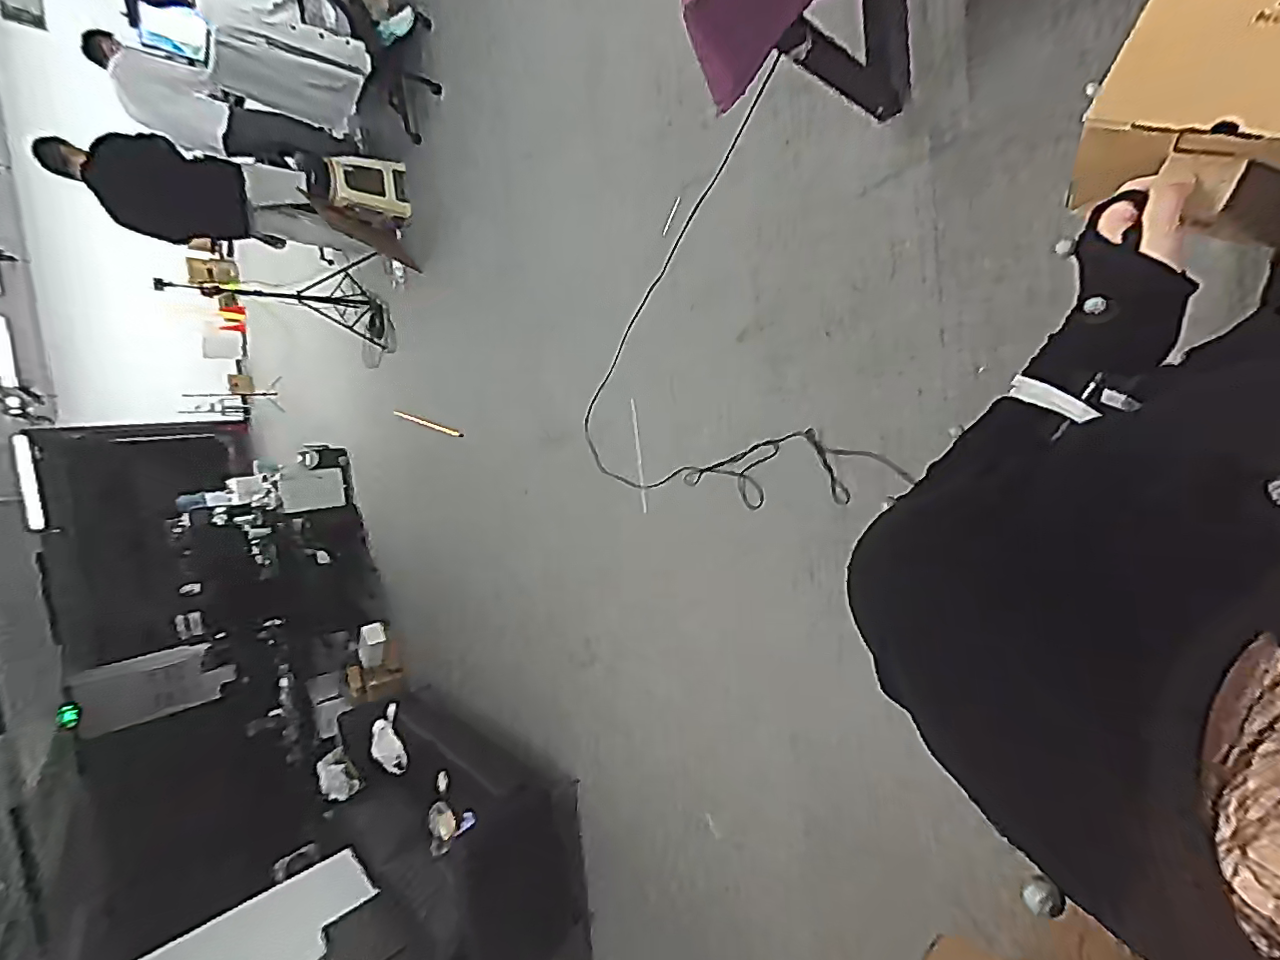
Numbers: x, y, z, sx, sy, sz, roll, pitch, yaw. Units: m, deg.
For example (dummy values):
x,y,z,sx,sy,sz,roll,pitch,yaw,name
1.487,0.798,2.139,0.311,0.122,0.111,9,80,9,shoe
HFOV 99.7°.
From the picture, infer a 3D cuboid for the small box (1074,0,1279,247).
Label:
x,y,z,sx,sy,sz,roll,pitch,yaw,name
0.478,-0.313,0.421,0.168,0.176,0.179,33,108,30,small box
